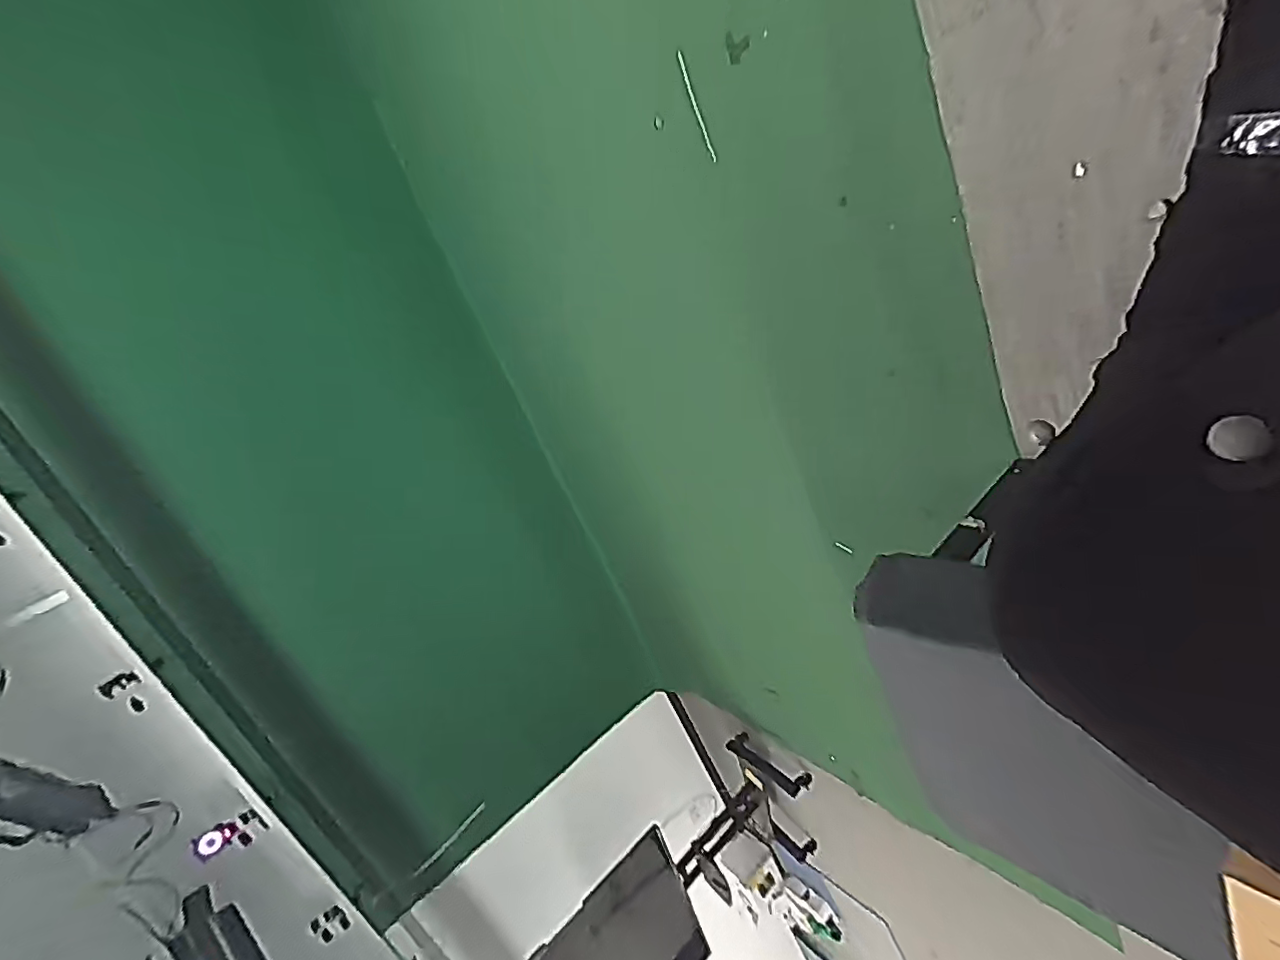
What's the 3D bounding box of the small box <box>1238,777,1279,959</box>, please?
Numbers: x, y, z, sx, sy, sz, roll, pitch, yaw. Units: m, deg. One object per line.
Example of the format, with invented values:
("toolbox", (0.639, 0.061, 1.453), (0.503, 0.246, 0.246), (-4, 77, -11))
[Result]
("small box", (0.804, 0.469, 0.588), (0.179, 0.176, 0.168), (3, 121, 59))
